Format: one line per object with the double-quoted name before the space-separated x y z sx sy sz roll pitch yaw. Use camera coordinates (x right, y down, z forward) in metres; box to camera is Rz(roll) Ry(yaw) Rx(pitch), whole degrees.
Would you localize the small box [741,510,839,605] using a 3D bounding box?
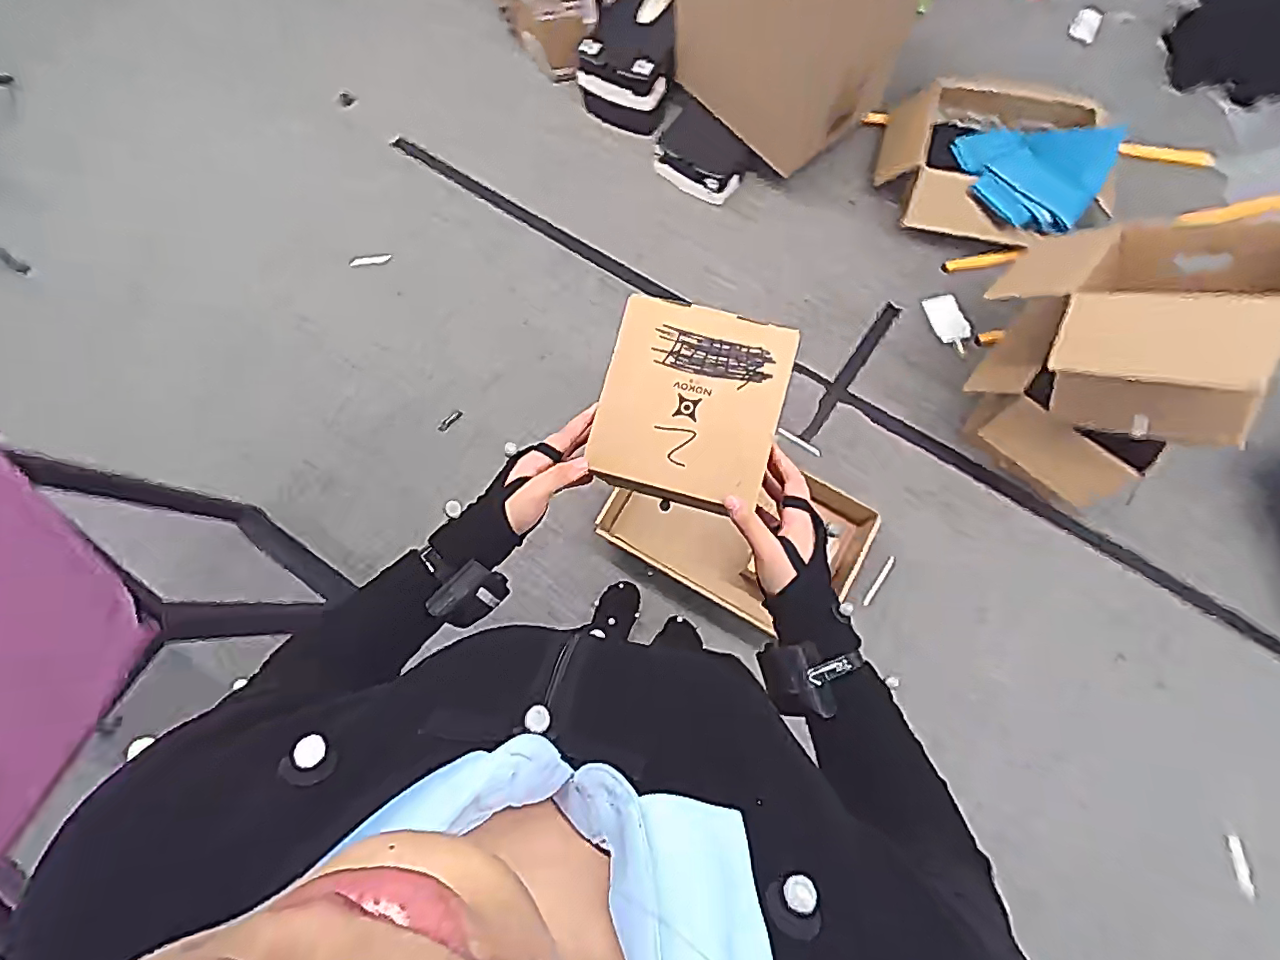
"small box" 0.371 0.203 1.374 0.168 0.176 0.179 31 79 10
